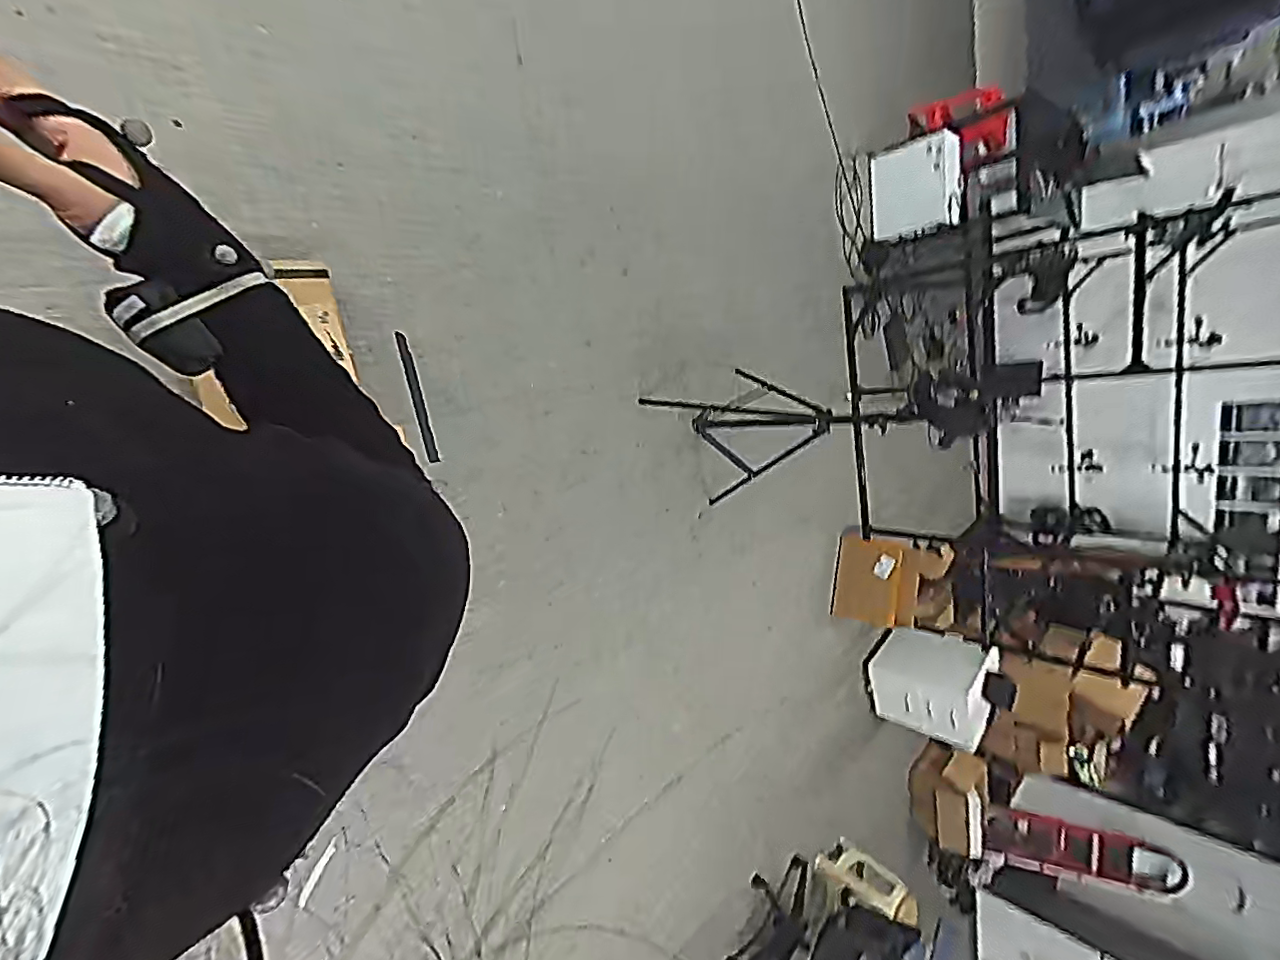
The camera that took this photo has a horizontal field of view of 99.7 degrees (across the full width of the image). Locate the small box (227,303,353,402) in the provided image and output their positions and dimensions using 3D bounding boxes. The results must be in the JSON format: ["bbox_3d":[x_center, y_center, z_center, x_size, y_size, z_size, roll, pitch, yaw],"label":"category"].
[{"bbox_3d":[-0.735,-0.263,1.130,0.179,0.176,0.168,-23,108,-39],"label":"small box"}]
